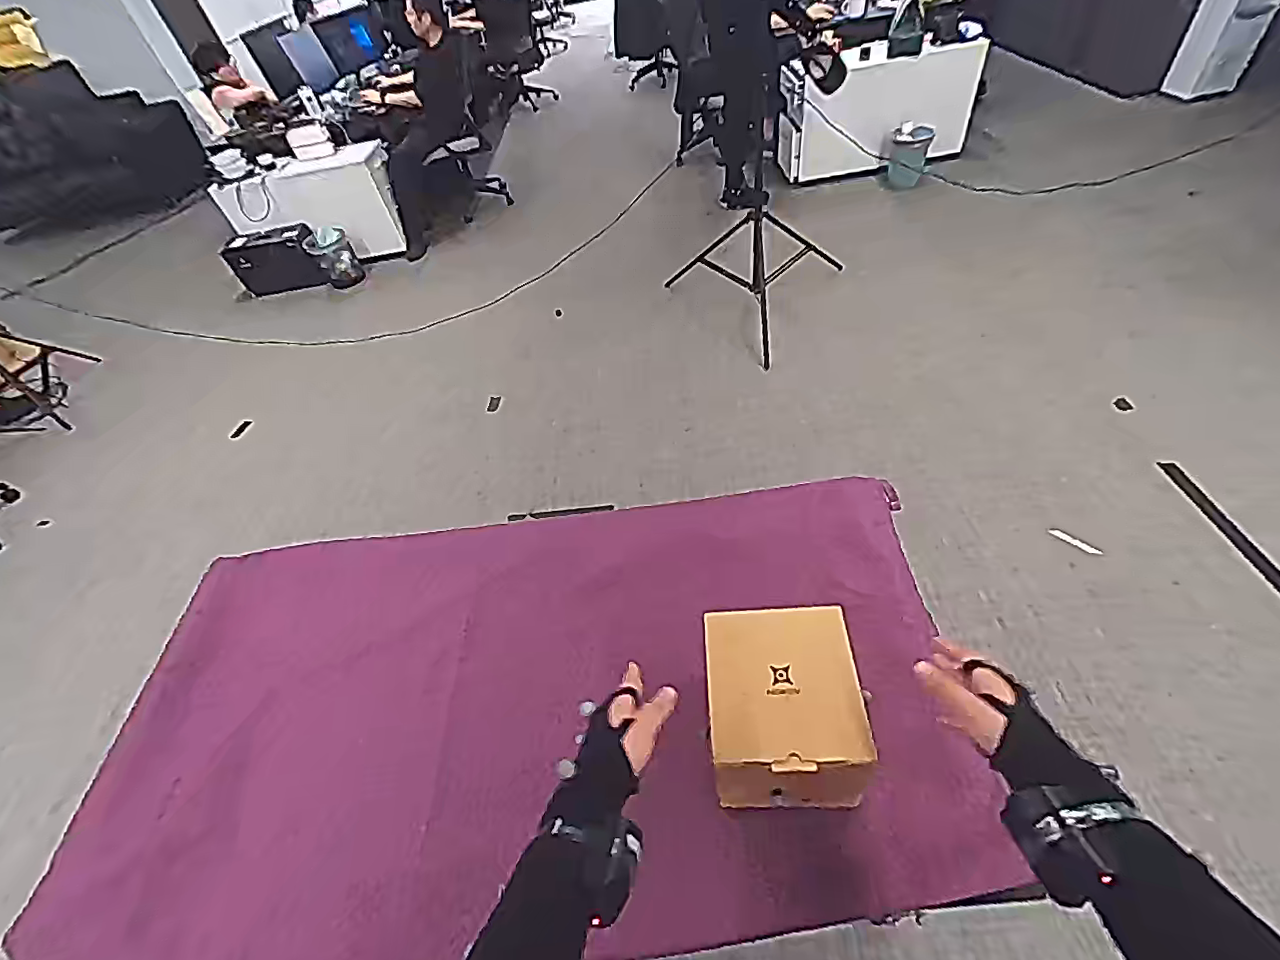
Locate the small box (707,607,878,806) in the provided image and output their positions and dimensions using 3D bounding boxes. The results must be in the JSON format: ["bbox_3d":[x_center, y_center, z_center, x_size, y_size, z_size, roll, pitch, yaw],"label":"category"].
[{"bbox_3d":[0.169,0.276,0.657,0.168,0.176,0.179,-5,47,7],"label":"small box"}]
